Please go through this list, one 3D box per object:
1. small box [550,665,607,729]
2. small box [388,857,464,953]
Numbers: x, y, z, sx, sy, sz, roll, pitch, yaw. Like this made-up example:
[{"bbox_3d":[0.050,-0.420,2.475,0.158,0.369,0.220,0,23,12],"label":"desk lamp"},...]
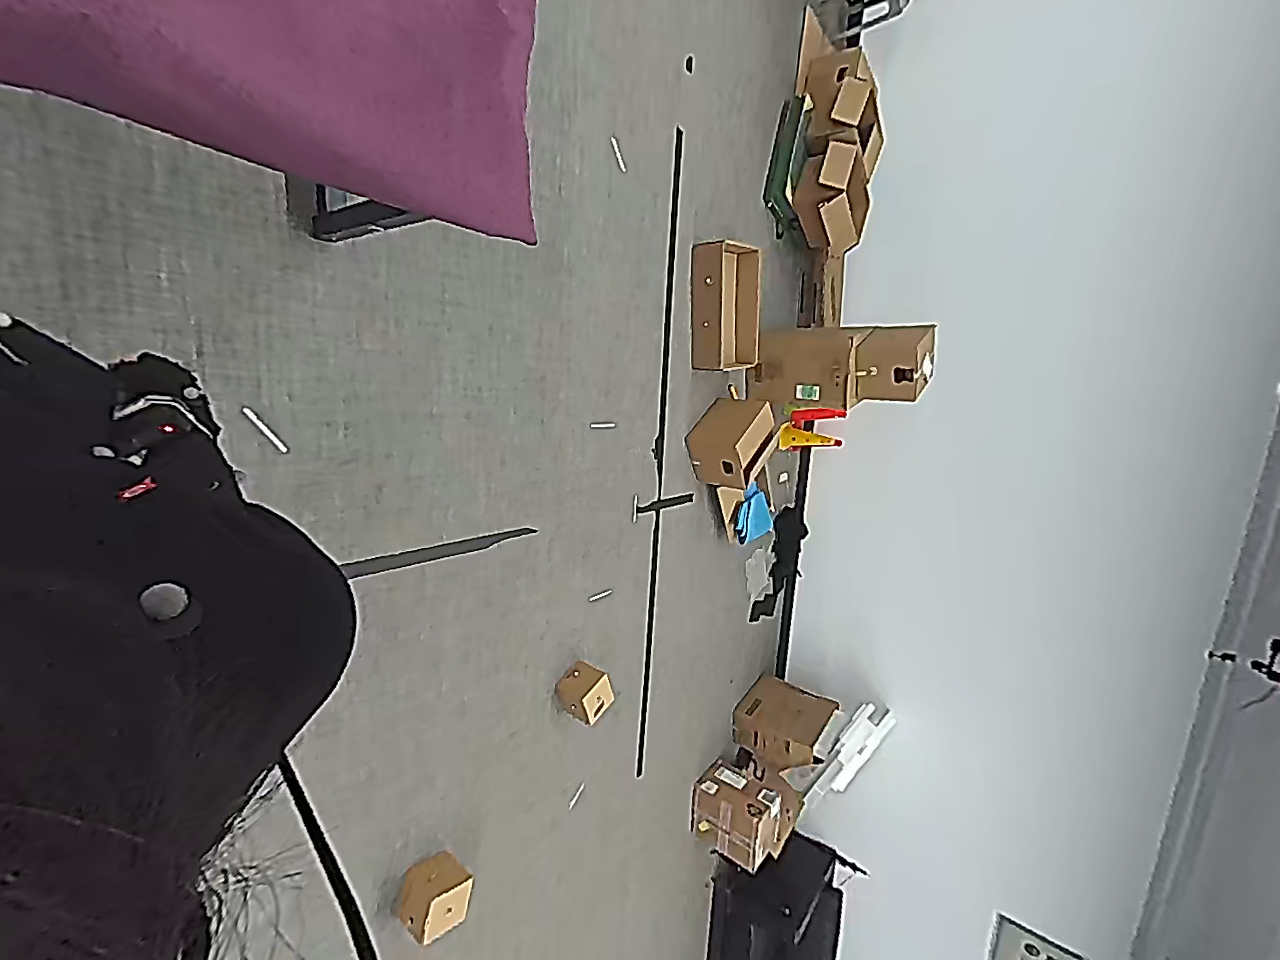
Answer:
[{"bbox_3d":[-0.274,0.958,2.404,0.168,0.176,0.179,-39,128,-42],"label":"small box"},{"bbox_3d":[-0.755,1.485,1.902,0.179,0.176,0.168,12,91,-55],"label":"small box"}]
